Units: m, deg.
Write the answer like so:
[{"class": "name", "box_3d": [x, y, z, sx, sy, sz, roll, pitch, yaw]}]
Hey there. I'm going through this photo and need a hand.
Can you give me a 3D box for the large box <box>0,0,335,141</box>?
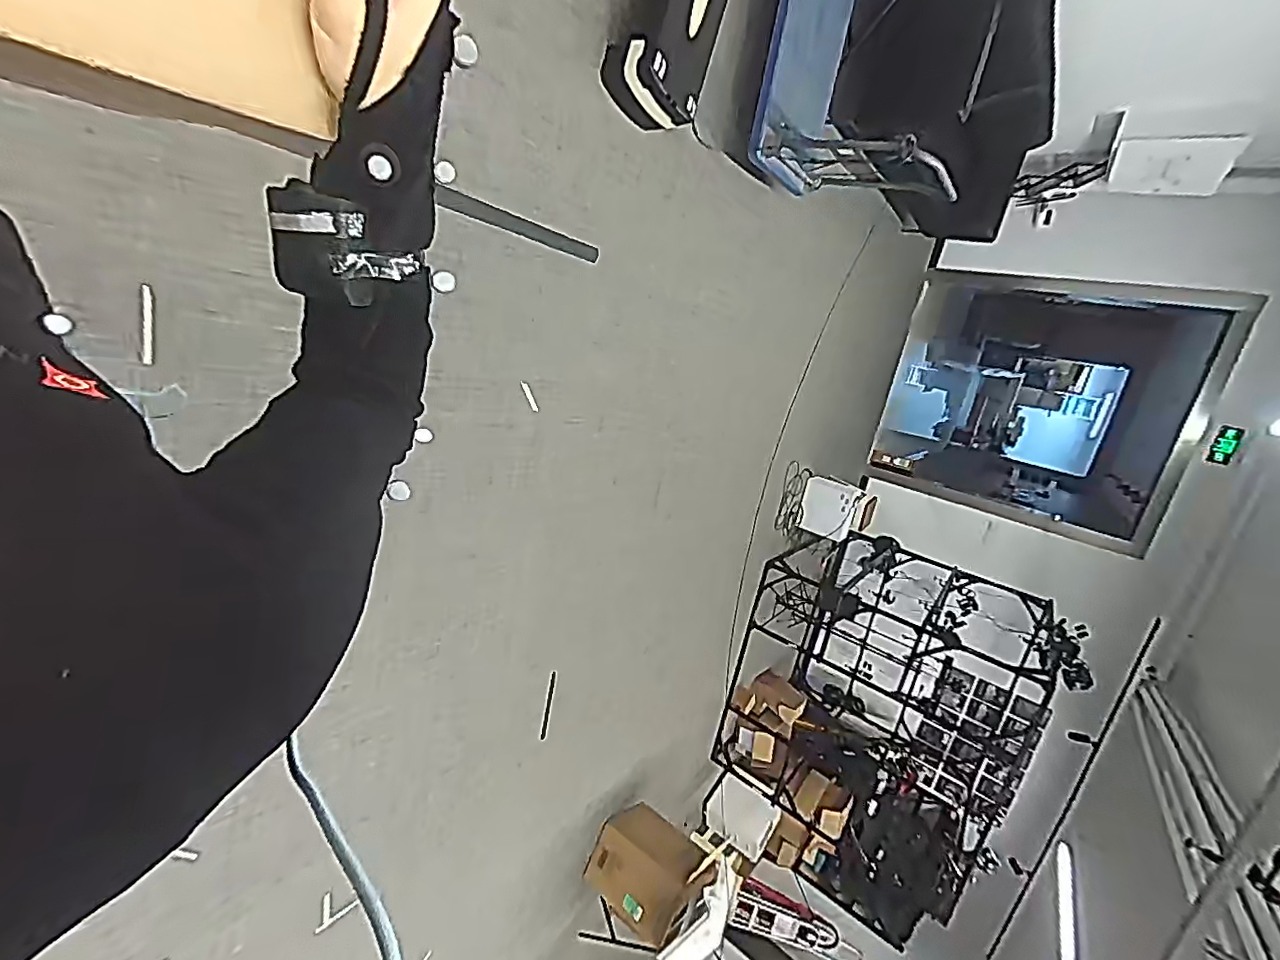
[{"class": "large box", "box_3d": [-0.378, -0.348, 0.168, 0.408, 0.320, 0.320, -18, 127, -55]}]
